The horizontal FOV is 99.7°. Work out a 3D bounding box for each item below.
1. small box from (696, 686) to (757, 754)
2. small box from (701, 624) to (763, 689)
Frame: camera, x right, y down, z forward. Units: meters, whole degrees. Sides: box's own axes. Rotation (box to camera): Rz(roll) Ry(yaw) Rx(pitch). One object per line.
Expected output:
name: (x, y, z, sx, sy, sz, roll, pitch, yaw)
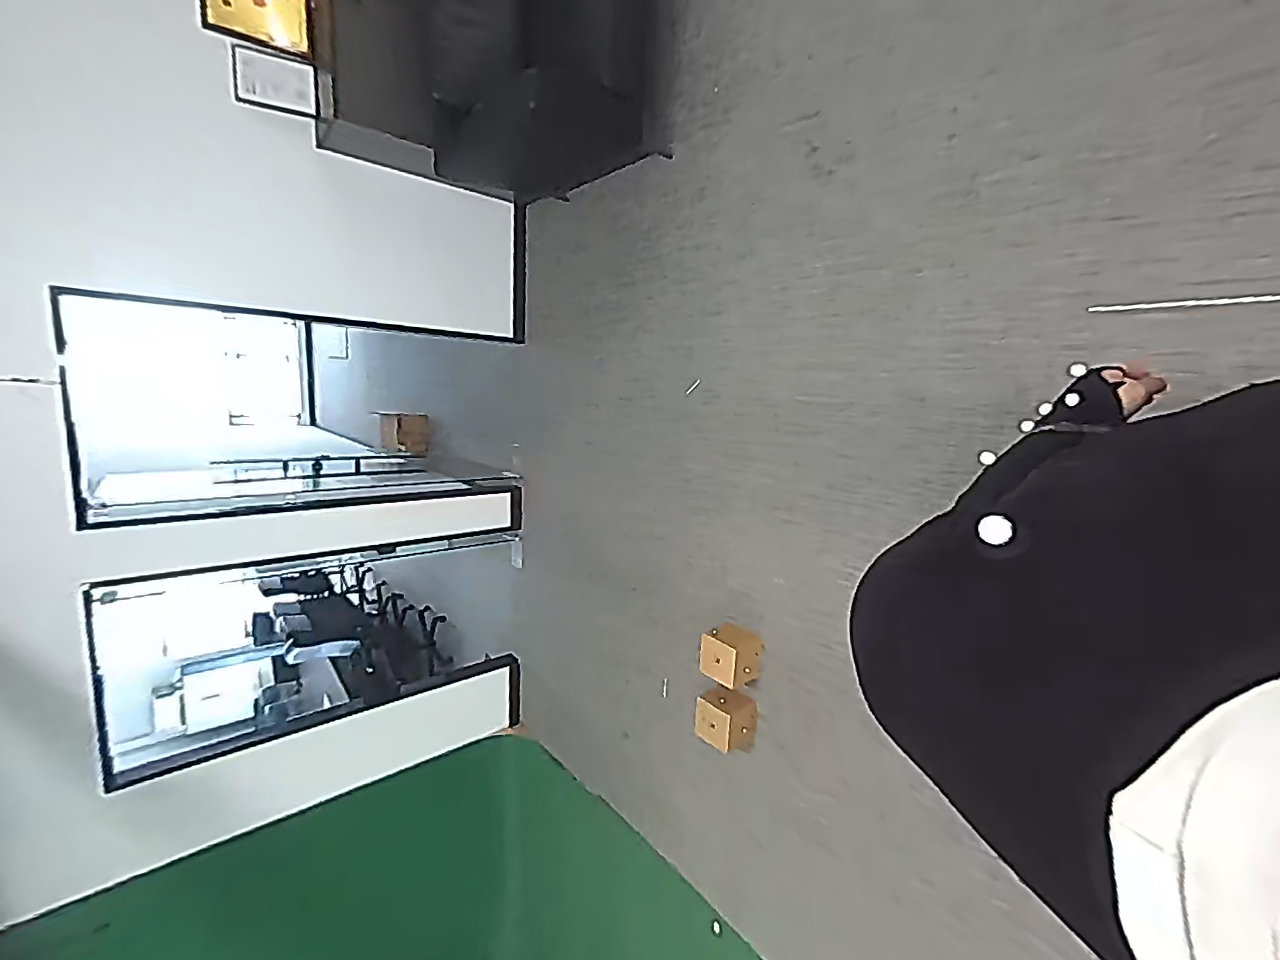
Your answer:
small box: (0.349, 0.950, 2.162, 0.179, 0.176, 0.168, 13, 103, 48)
small box: (0.362, 0.686, 2.124, 0.179, 0.176, 0.168, 13, 104, 49)
